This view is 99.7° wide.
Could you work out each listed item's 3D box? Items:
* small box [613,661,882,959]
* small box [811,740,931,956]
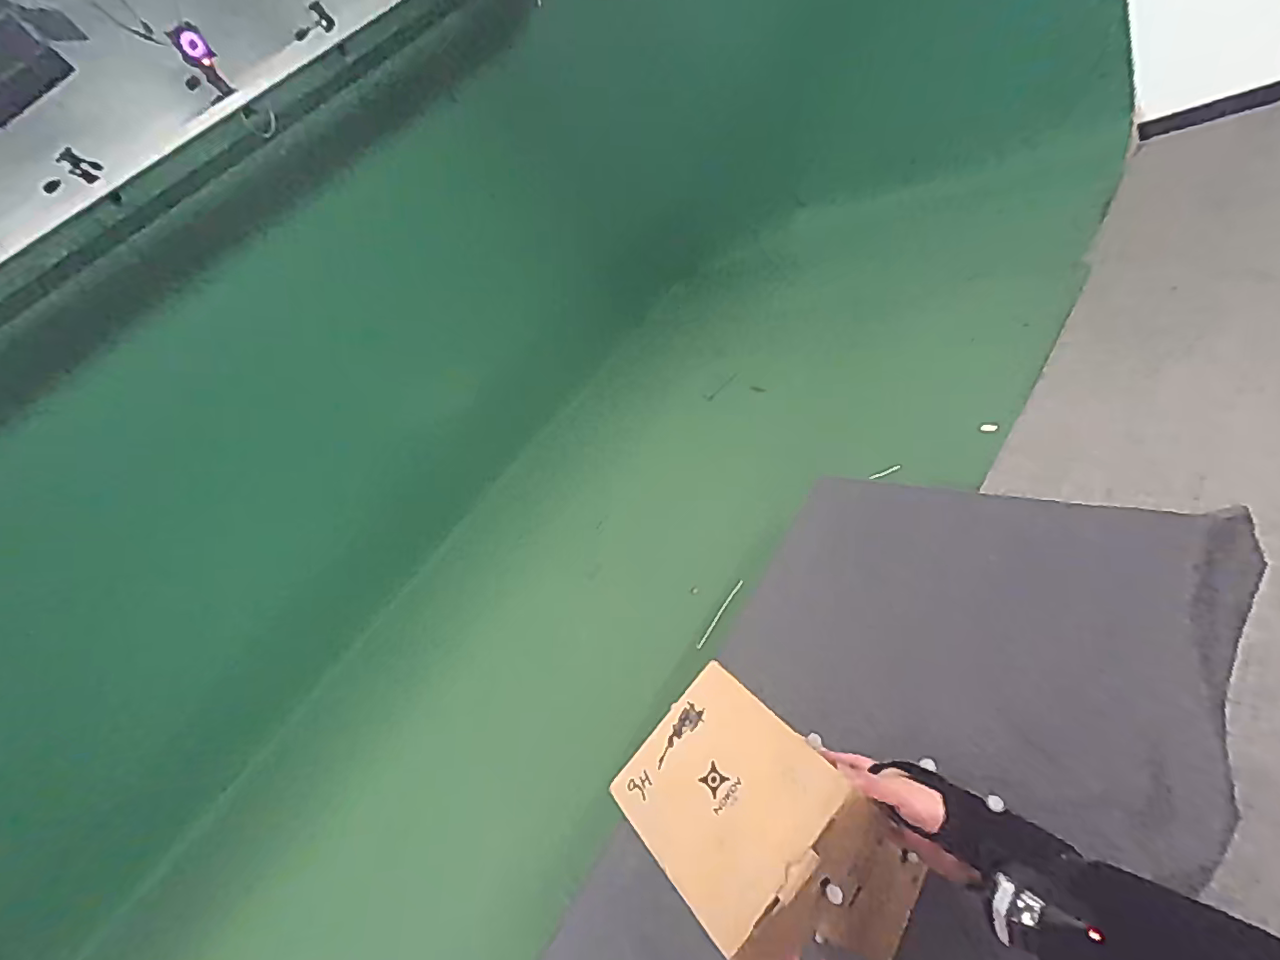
[{"bbox_3d":[0.113,0.320,0.538,0.168,0.176,0.179,-47,44,-9],"label":"small box"},{"bbox_3d":[0.239,0.452,0.687,0.179,0.176,0.168,9,55,52],"label":"small box"}]
